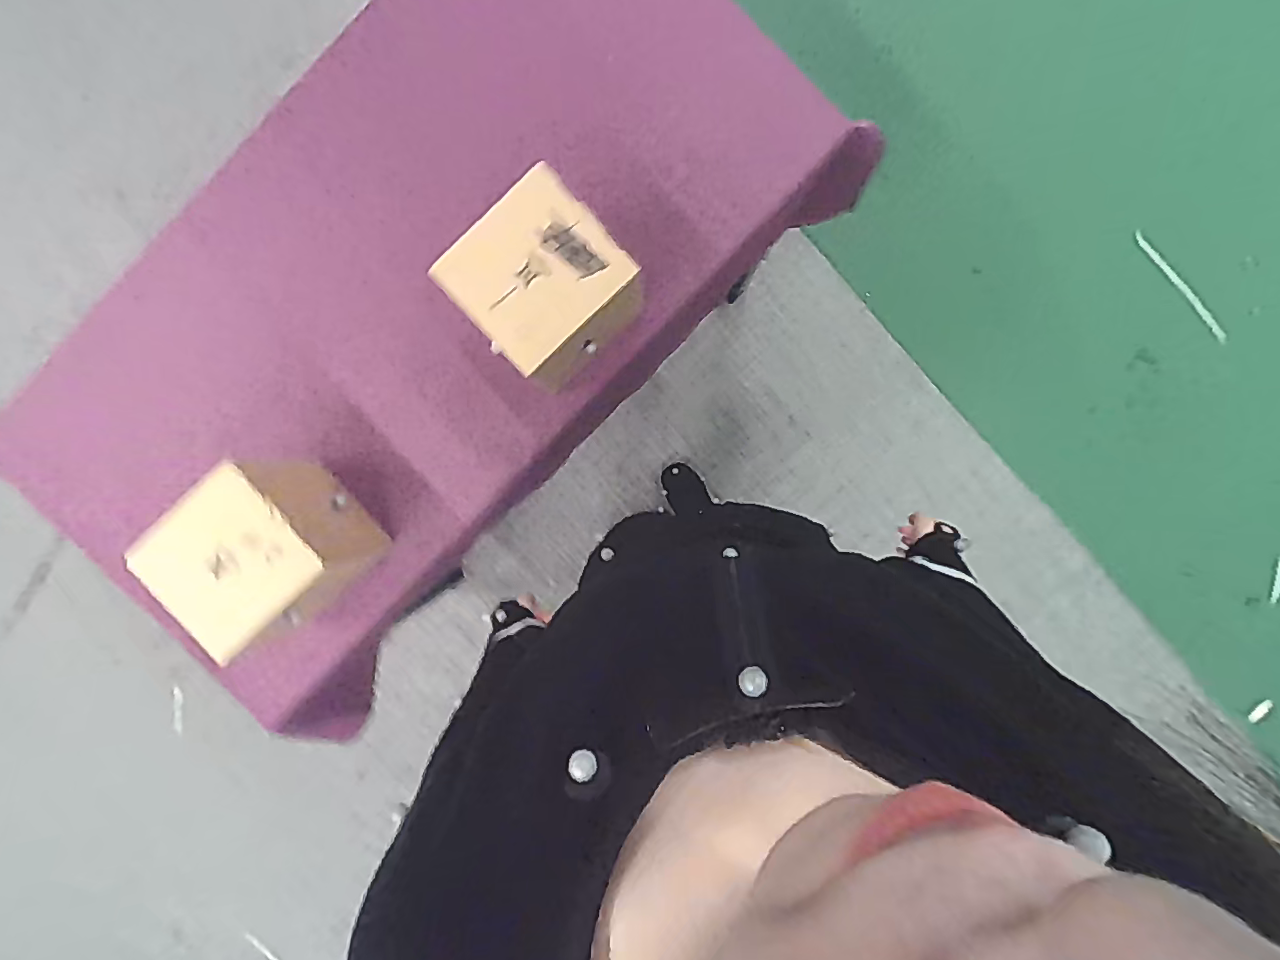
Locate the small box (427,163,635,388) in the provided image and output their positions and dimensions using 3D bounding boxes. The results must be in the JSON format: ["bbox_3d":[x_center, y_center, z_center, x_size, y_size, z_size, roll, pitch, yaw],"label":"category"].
[{"bbox_3d":[-0.122,-0.238,0.680,0.179,0.176,0.168,-43,90,3],"label":"small box"}]

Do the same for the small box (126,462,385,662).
[{"bbox_3d":[-0.477,0.094,0.700,0.179,0.176,0.168,-43,91,2],"label":"small box"}]
